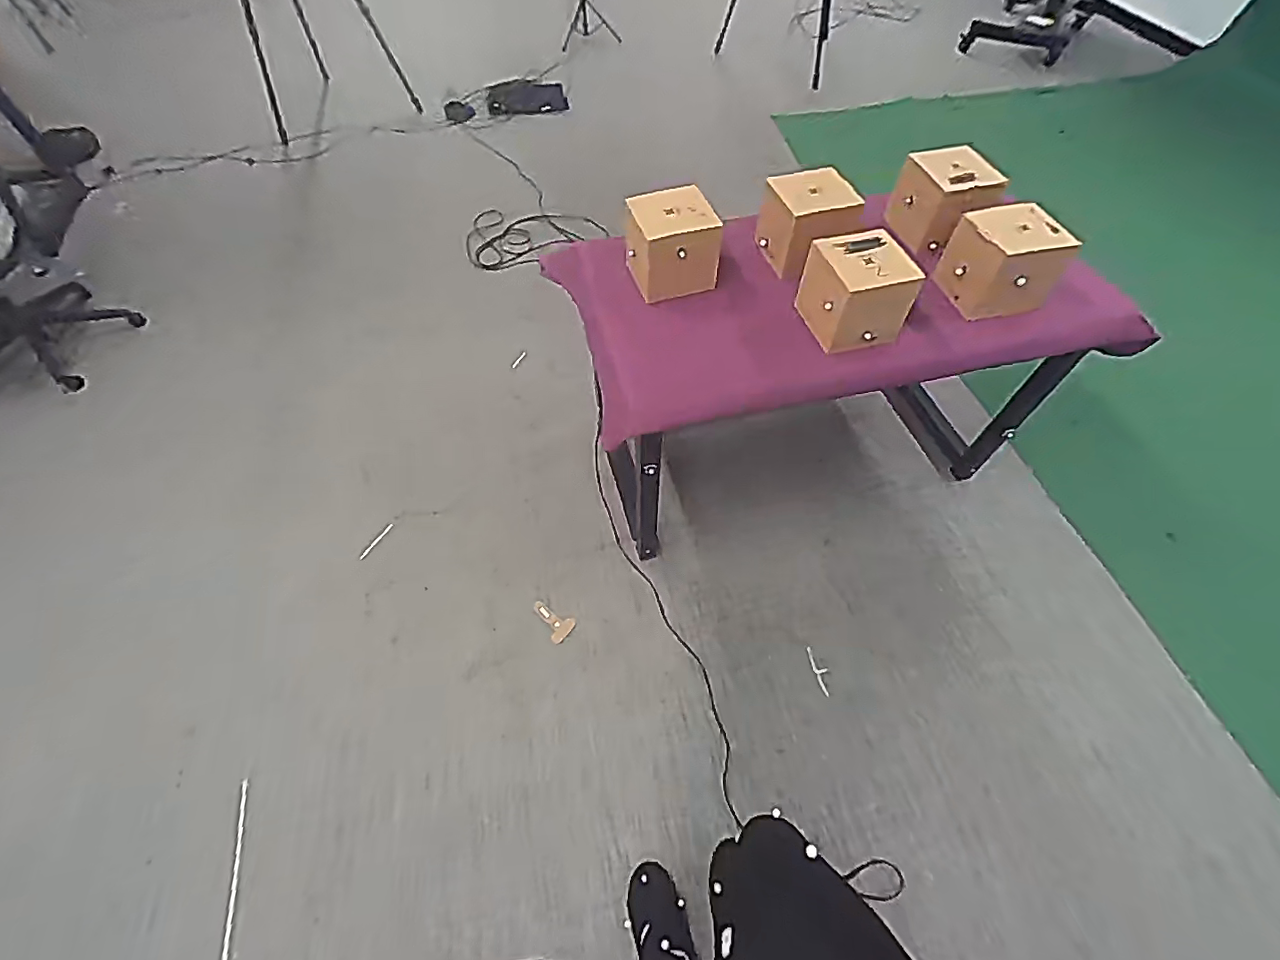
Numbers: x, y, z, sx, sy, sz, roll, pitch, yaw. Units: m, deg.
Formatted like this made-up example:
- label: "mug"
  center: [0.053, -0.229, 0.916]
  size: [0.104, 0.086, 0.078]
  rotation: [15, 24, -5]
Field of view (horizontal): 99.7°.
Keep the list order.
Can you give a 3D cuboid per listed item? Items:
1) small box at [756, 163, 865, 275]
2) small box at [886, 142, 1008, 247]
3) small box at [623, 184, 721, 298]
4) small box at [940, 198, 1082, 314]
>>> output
- label: "small box"
  center: [0.396, -0.618, 1.289]
  size: [0.179, 0.176, 0.168]
  rotation: [-14, 58, -8]
- label: "small box"
  center: [0.744, -0.696, 1.332]
  size: [0.168, 0.176, 0.179]
  rotation: [-12, 57, -7]
- label: "small box"
  center: [0.070, -0.544, 1.243]
  size: [0.179, 0.176, 0.168]
  rotation: [-15, 59, -9]
- label: "small box"
  center: [0.802, -0.492, 1.200]
  size: [0.179, 0.176, 0.168]
  rotation: [-11, 57, -5]
